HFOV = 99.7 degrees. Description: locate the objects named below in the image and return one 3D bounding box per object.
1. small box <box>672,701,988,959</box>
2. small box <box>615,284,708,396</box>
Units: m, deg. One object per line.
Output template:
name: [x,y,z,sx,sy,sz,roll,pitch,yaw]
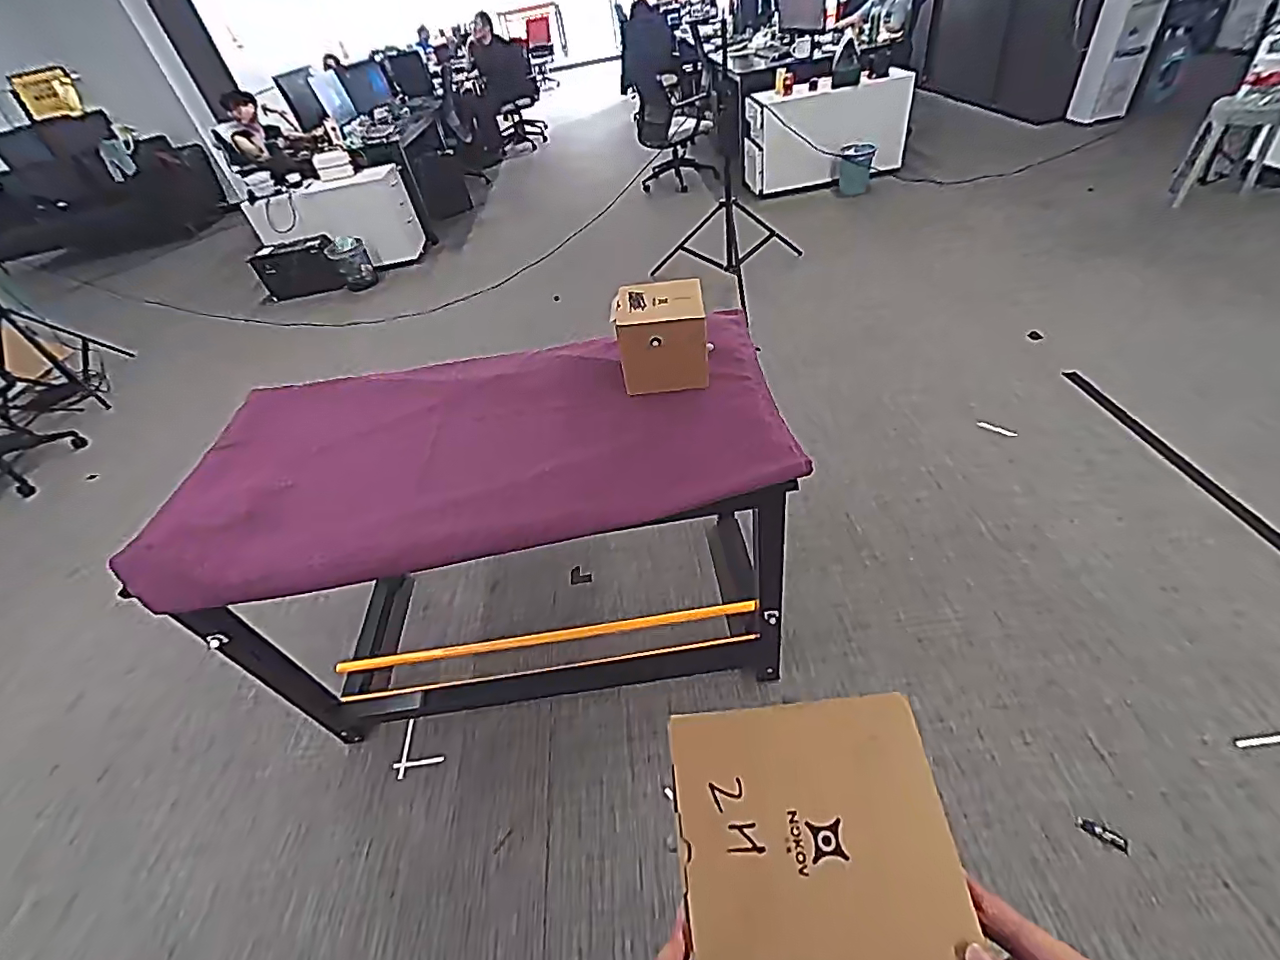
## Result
small box: [0.121,0.276,0.421,0.179,0.176,0.168,-7,59,3]
small box: [0.049,-0.294,1.154,0.179,0.176,0.168,-4,45,6]
